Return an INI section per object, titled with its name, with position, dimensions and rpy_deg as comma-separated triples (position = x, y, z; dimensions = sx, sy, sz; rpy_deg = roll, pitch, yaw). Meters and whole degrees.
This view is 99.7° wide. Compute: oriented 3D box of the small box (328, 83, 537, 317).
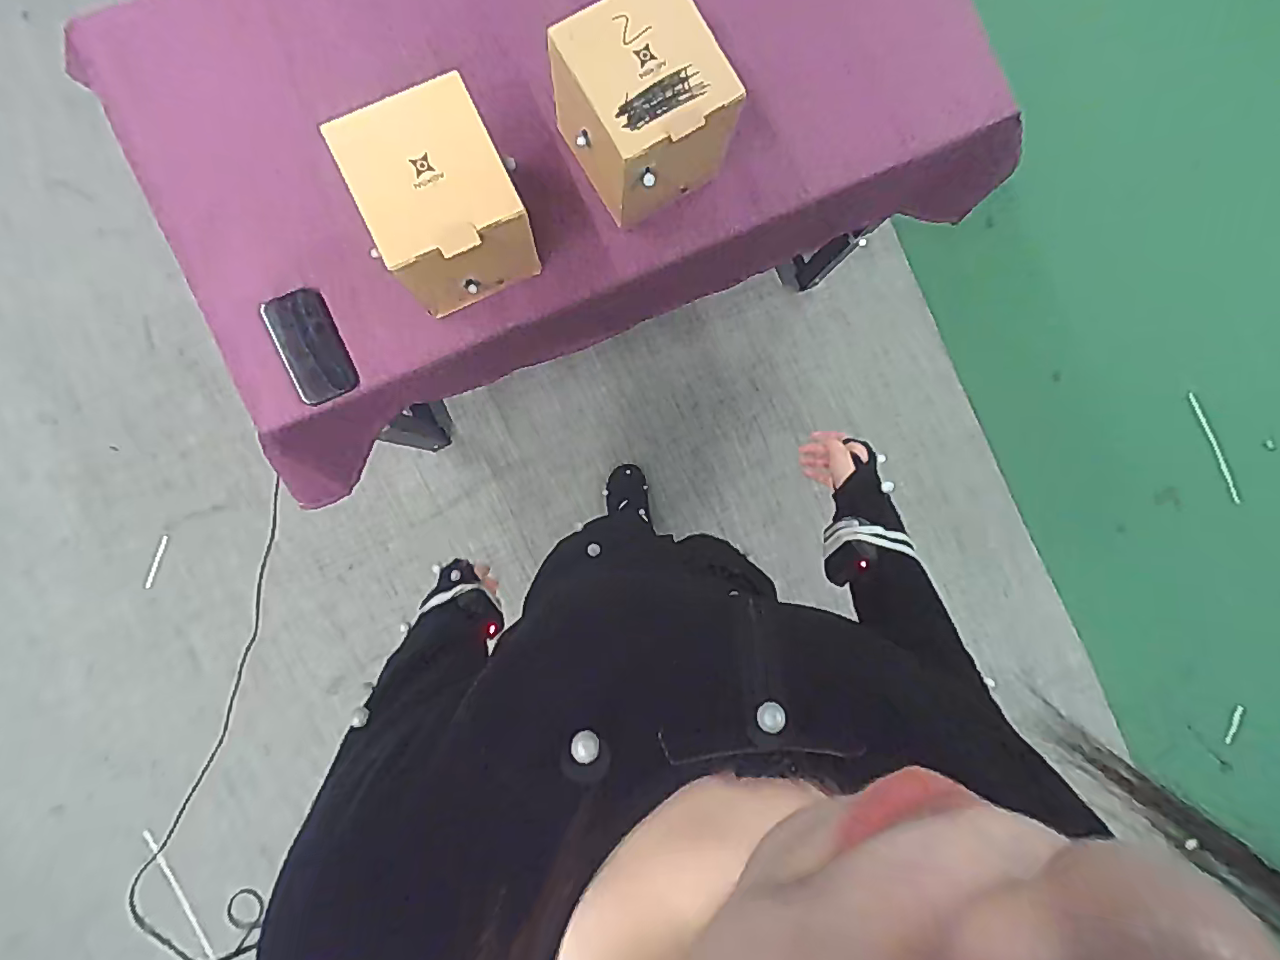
[small box]
position = -0.245, -0.337, 0.685
dimensions = 0.168, 0.176, 0.179
rpy_deg = -26, 91, -5
